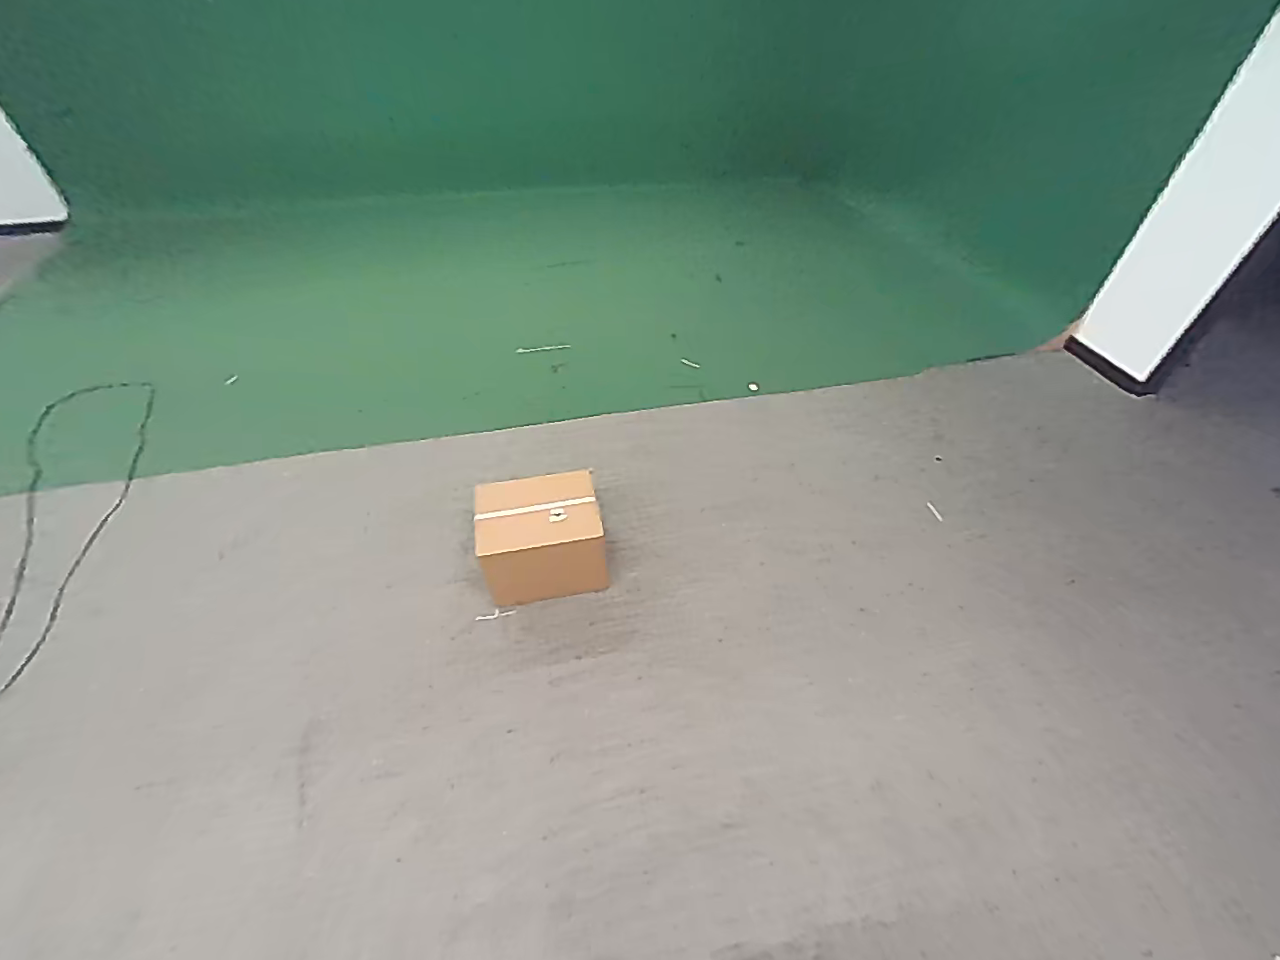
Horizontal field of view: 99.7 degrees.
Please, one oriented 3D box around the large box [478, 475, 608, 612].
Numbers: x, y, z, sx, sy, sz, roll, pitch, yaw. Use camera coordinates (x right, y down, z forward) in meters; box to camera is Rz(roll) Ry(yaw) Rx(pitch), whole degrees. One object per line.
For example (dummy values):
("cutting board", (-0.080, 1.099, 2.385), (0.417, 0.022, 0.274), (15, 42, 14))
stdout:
("large box", (-0.340, 0.223, 1.908), (0.408, 0.320, 0.320), (-8, 46, -9))
